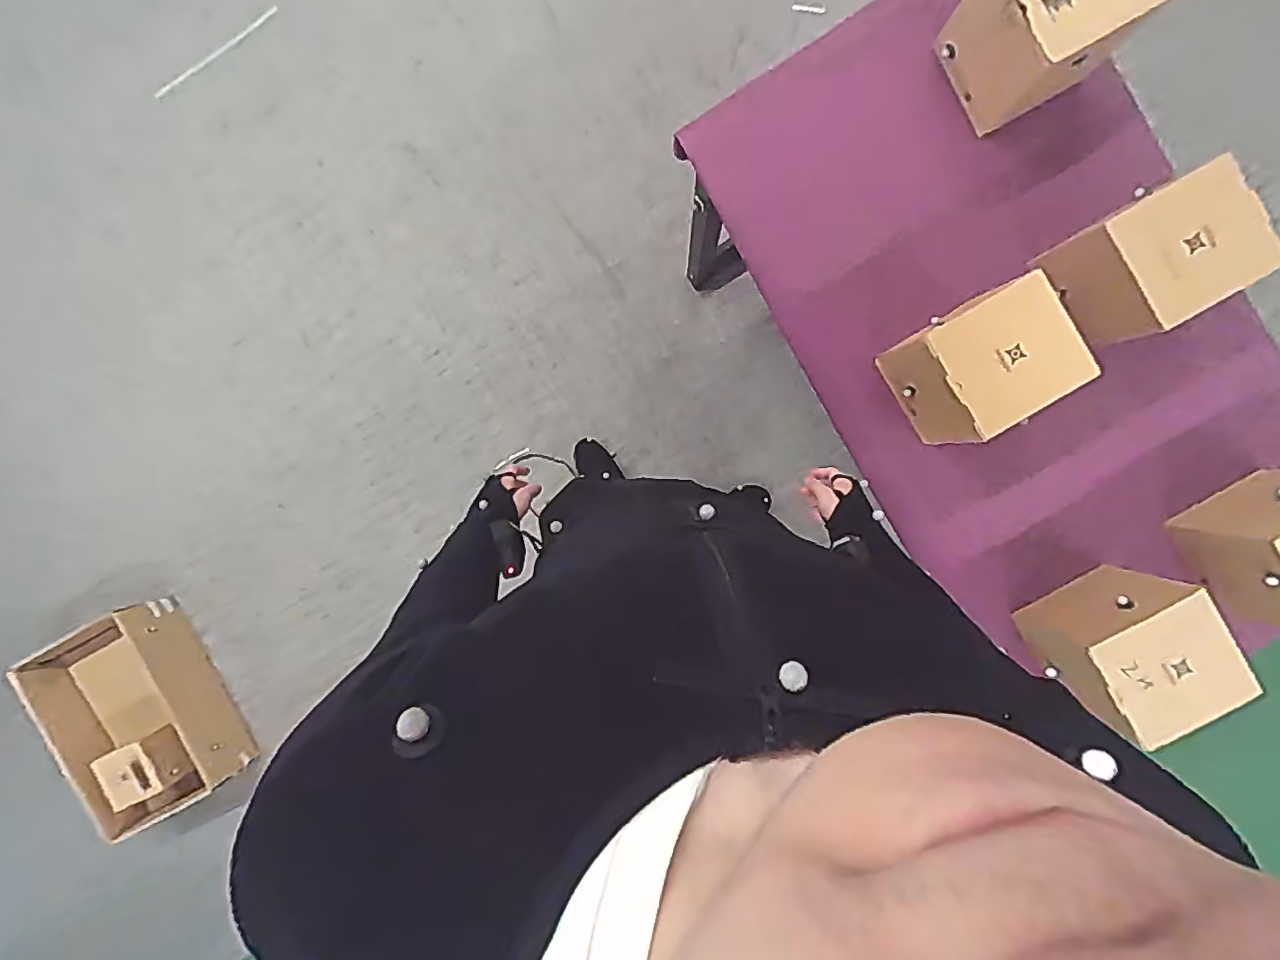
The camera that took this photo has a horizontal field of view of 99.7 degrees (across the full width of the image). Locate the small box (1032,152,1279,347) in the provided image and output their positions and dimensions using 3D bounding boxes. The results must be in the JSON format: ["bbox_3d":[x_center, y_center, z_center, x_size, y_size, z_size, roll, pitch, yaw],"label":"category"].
[{"bbox_3d":[0.726,-0.313,0.775,0.179,0.176,0.168,-30,90,5],"label":"small box"}]

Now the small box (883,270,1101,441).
[{"bbox_3d":[0.500,-0.170,0.796,0.179,0.176,0.168,-31,91,4],"label":"small box"}]

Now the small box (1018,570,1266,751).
[{"bbox_3d":[0.722,0.252,0.801,0.179,0.176,0.168,-29,90,4],"label":"small box"}]

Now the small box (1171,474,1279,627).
[{"bbox_3d":[0.954,0.101,0.783,0.179,0.176,0.168,-31,90,4],"label":"small box"}]

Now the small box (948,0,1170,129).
[{"bbox_3d":[0.571,-0.647,0.761,0.179,0.176,0.168,-28,92,5],"label":"small box"}]
